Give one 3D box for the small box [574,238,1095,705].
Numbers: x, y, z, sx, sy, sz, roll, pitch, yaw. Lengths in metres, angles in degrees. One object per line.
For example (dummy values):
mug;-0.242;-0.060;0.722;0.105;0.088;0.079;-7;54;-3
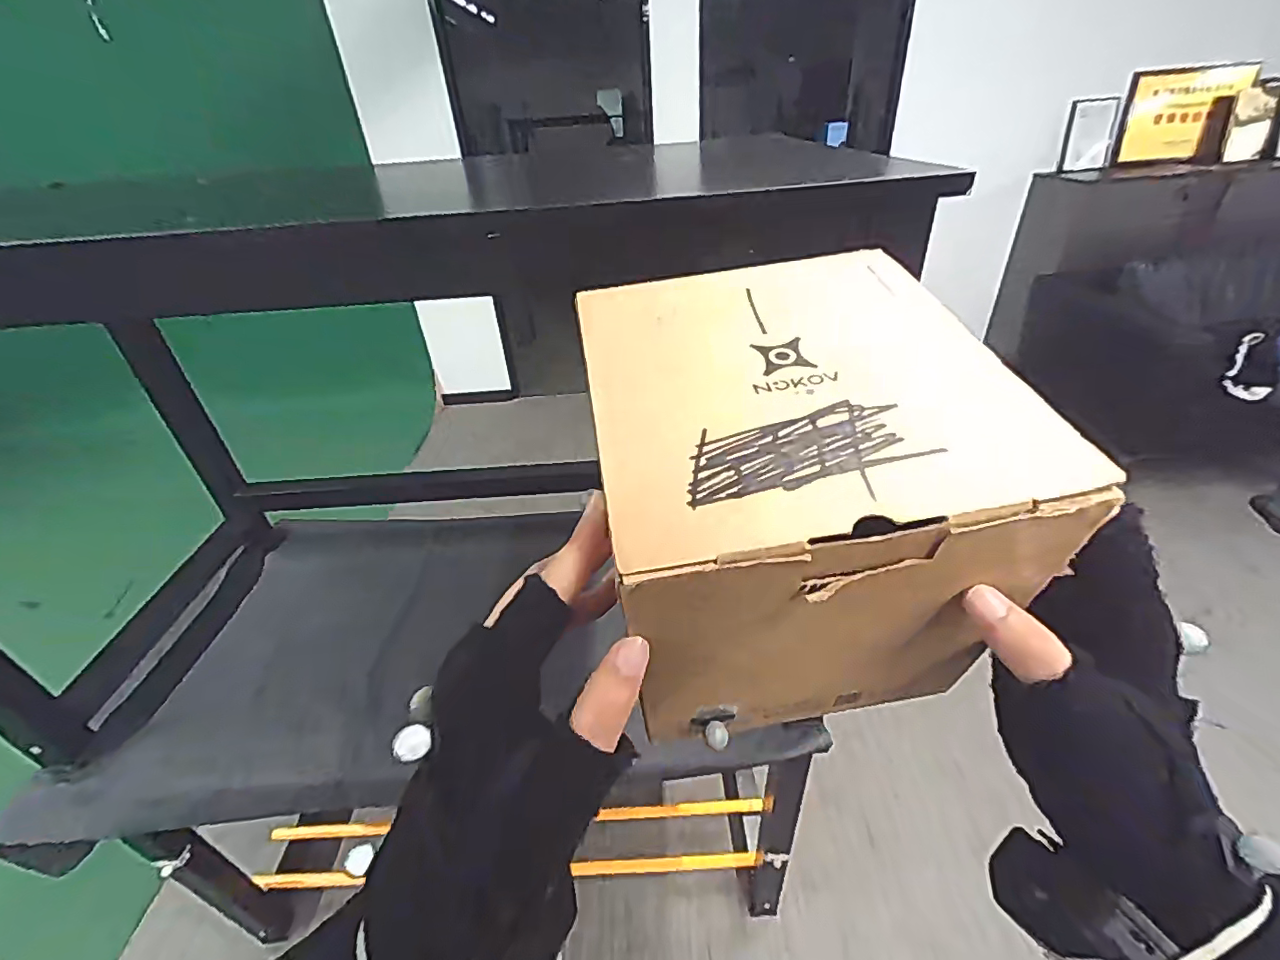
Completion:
small box;0.063;0.001;0.286;0.168;0.176;0.179;-9;47;-3
